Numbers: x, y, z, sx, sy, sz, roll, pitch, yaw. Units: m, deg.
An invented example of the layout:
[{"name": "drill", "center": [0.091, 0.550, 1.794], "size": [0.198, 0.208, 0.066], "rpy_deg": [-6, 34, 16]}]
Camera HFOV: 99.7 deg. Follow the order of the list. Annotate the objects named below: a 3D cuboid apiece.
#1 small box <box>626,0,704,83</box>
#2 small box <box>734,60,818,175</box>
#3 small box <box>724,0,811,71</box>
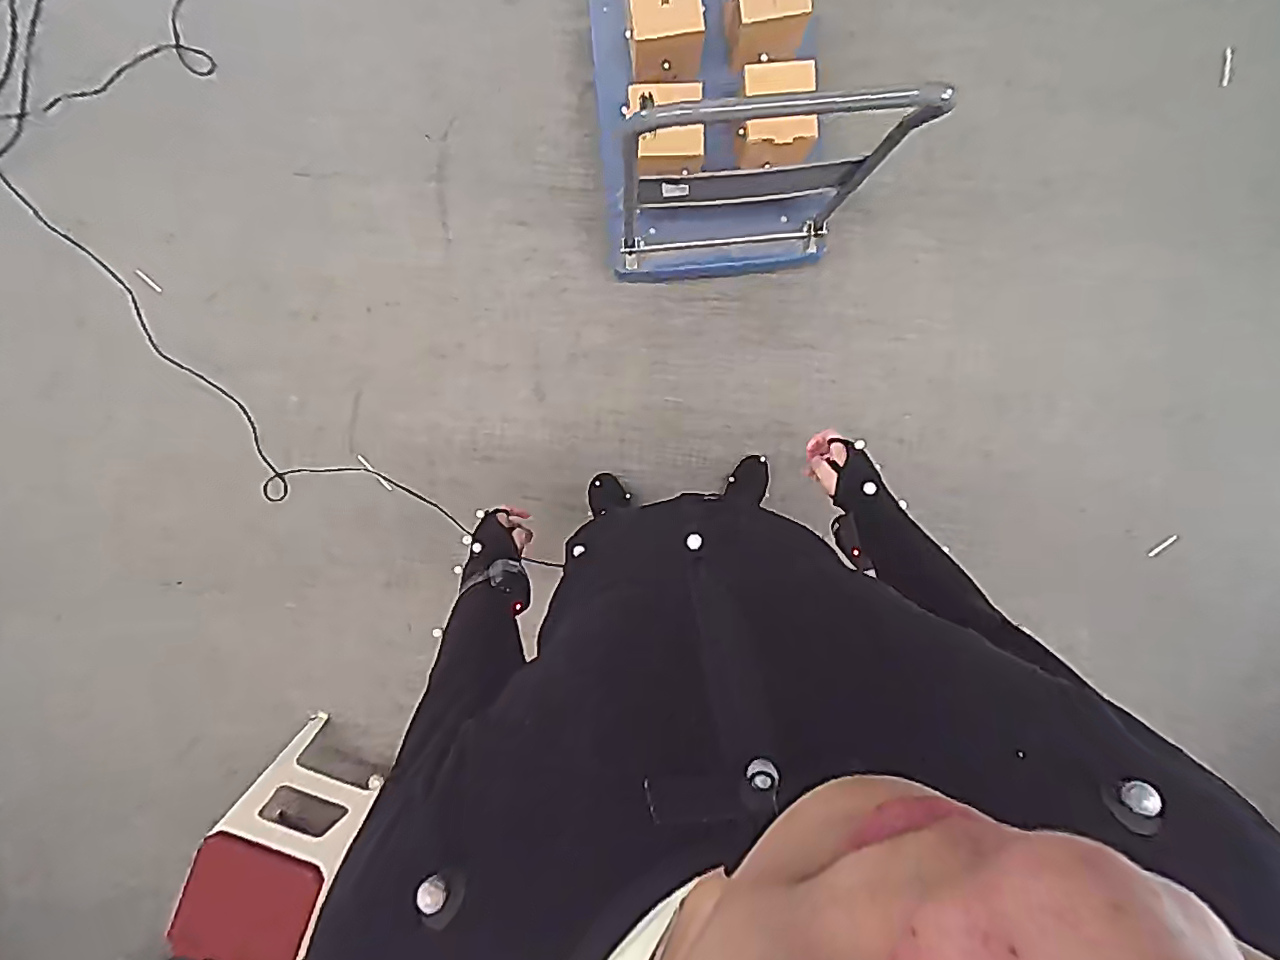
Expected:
[{"name": "small box", "center": [0.059, -1.126, 1.340], "size": [0.168, 0.176, 0.179], "rpy_deg": [-9, 93, 0]}, {"name": "small box", "center": [0.333, -0.897, 1.350], "size": [0.168, 0.176, 0.179], "rpy_deg": [-4, 93, 0]}, {"name": "small box", "center": [0.307, -1.166, 1.336], "size": [0.168, 0.176, 0.179], "rpy_deg": [-9, 94, 2]}]
